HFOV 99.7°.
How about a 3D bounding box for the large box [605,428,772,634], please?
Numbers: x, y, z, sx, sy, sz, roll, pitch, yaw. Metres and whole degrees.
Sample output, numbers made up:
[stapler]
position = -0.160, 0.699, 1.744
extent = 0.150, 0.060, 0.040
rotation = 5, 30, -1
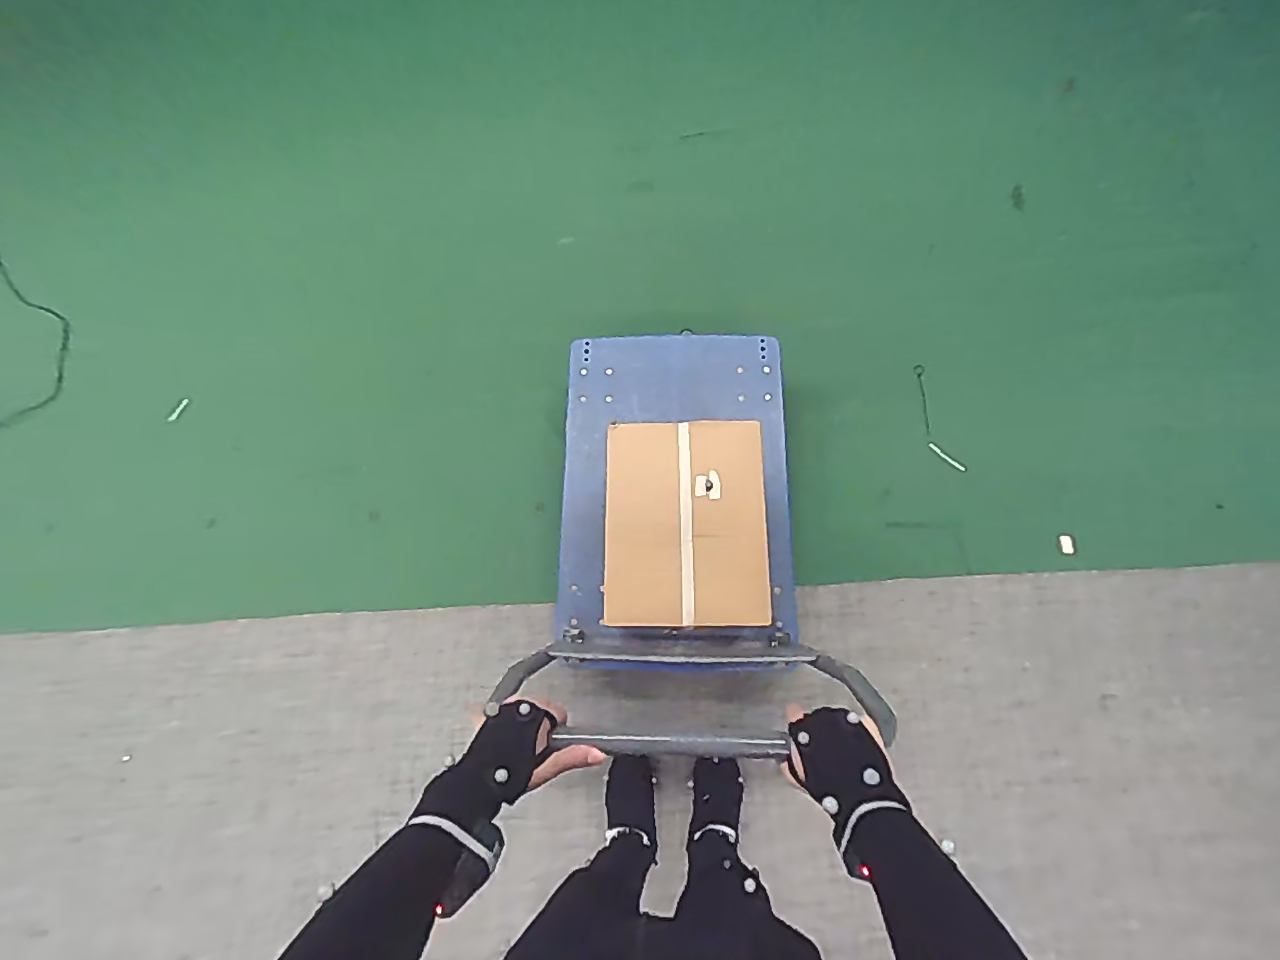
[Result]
[large box]
position = 0.097, 0.130, 1.197
extent = 0.320, 0.320, 0.408
rotation = -1, 74, 3
